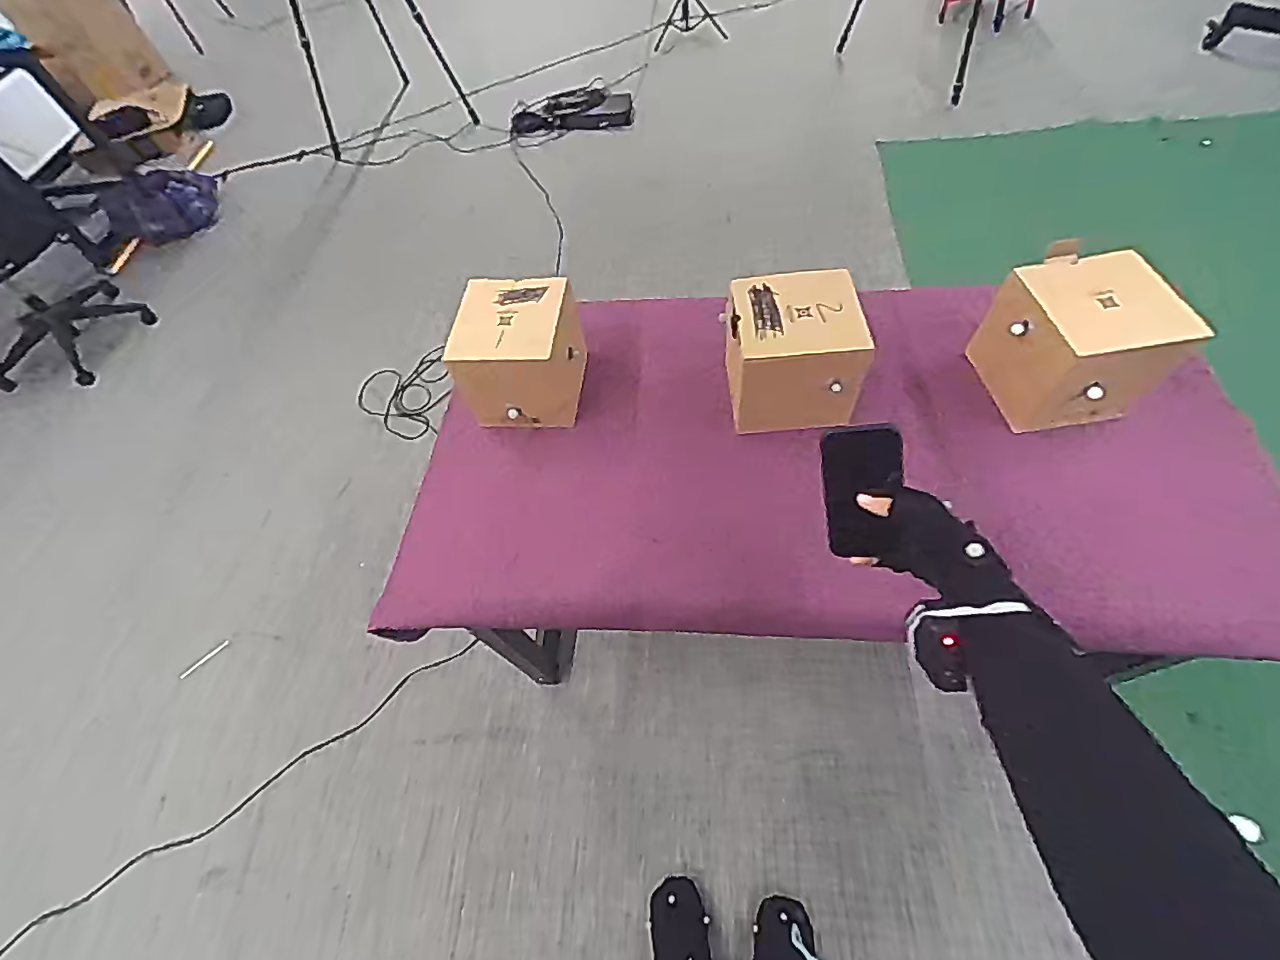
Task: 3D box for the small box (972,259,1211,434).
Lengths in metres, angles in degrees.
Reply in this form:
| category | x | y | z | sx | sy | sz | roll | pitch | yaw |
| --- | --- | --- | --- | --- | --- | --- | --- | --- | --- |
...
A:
| category | x | y | z | sx | sy | sz | roll | pitch | yaw |
| --- | --- | --- | --- | --- | --- | --- | --- | --- | --- |
| small box | 0.619 | -0.180 | 0.774 | 0.168 | 0.176 | 0.179 | -8 | 57 | 3 |

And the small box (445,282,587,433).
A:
| category | x | y | z | sx | sy | sz | roll | pitch | yaw |
| --- | --- | --- | --- | --- | --- | --- | --- | --- | --- |
| small box | -0.188 | -0.198 | 0.883 | 0.168 | 0.176 | 0.179 | 2 | 60 | 8 |
